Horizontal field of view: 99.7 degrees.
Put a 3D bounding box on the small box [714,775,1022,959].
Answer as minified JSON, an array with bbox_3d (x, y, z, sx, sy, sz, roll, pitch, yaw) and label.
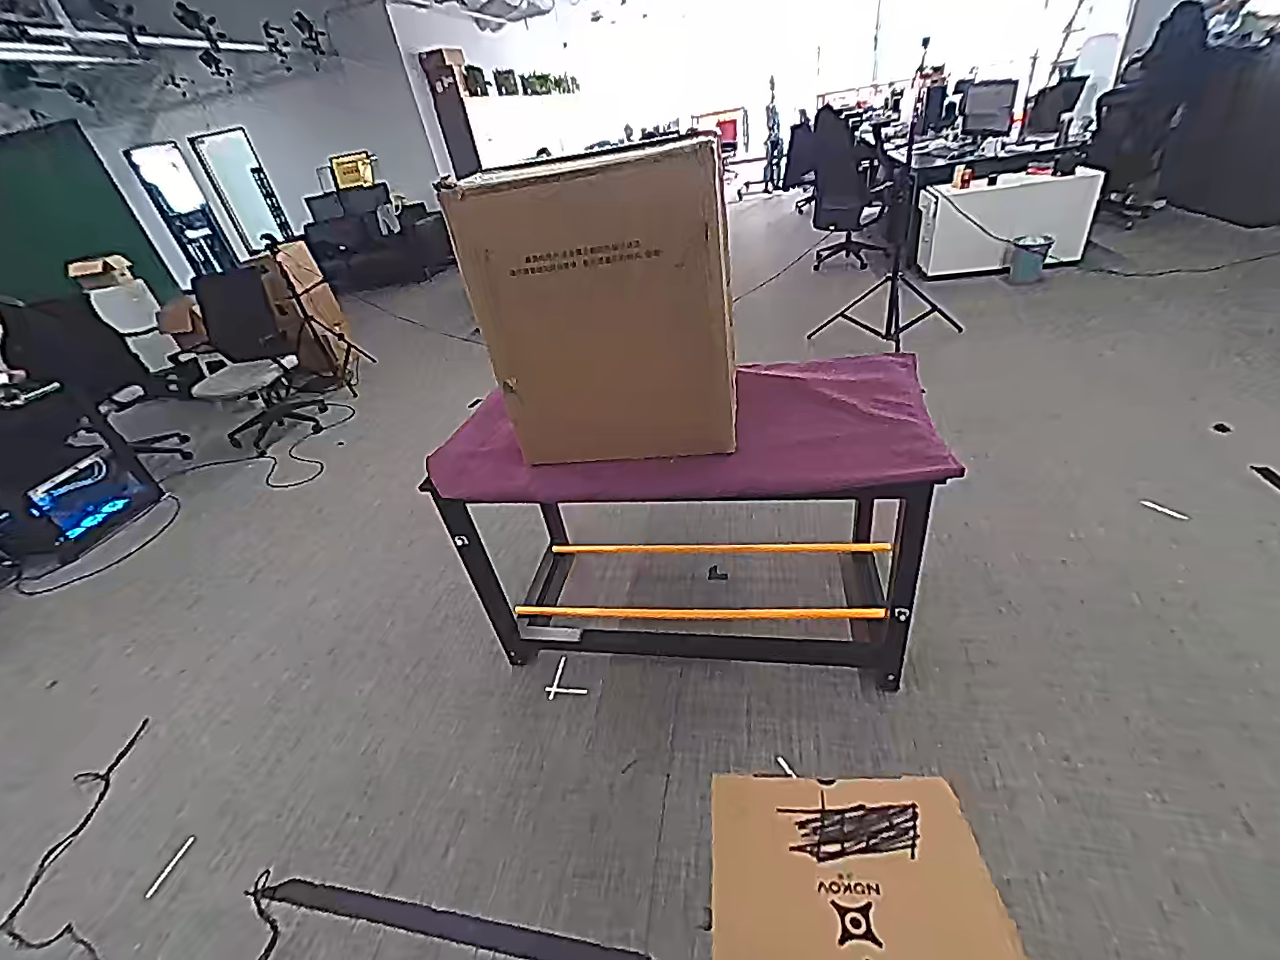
[{"bbox_3d":[0.134,0.326,0.347,0.168,0.176,0.179,-4,22,9],"label":"small box"}]
